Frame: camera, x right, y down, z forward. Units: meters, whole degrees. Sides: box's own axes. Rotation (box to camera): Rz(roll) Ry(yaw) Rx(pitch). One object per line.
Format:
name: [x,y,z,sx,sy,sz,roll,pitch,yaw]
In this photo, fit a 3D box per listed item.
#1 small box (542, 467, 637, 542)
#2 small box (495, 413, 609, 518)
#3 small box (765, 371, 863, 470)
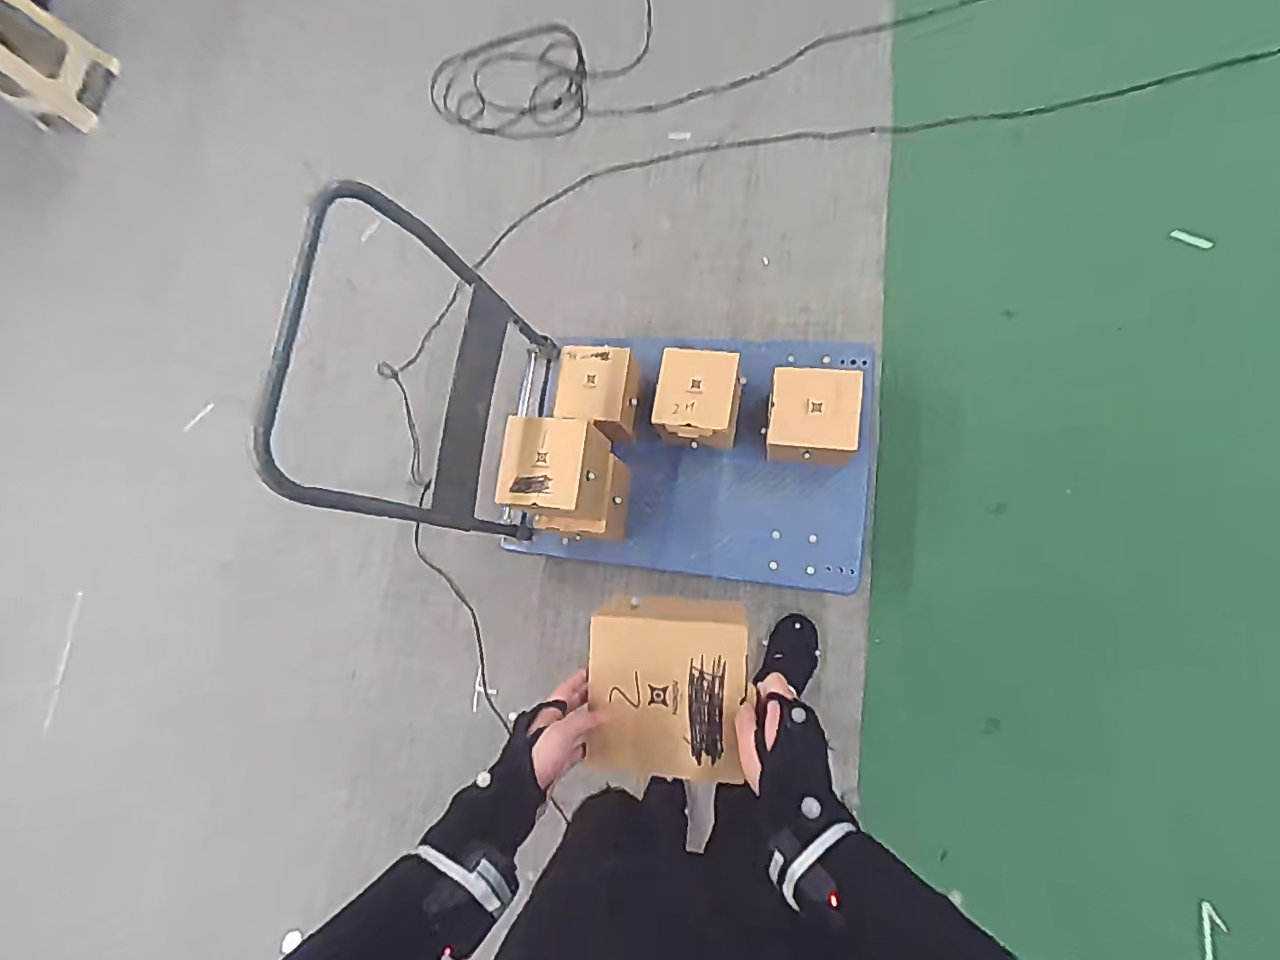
small box: [-0.134,0.033,1.256,0.179,0.176,0.168,37,90,18]
small box: [-0.169,-0.023,1.095,0.168,0.176,0.179,6,80,13]
small box: [0.368,-0.124,1.164,0.179,0.176,0.168,7,81,14]
